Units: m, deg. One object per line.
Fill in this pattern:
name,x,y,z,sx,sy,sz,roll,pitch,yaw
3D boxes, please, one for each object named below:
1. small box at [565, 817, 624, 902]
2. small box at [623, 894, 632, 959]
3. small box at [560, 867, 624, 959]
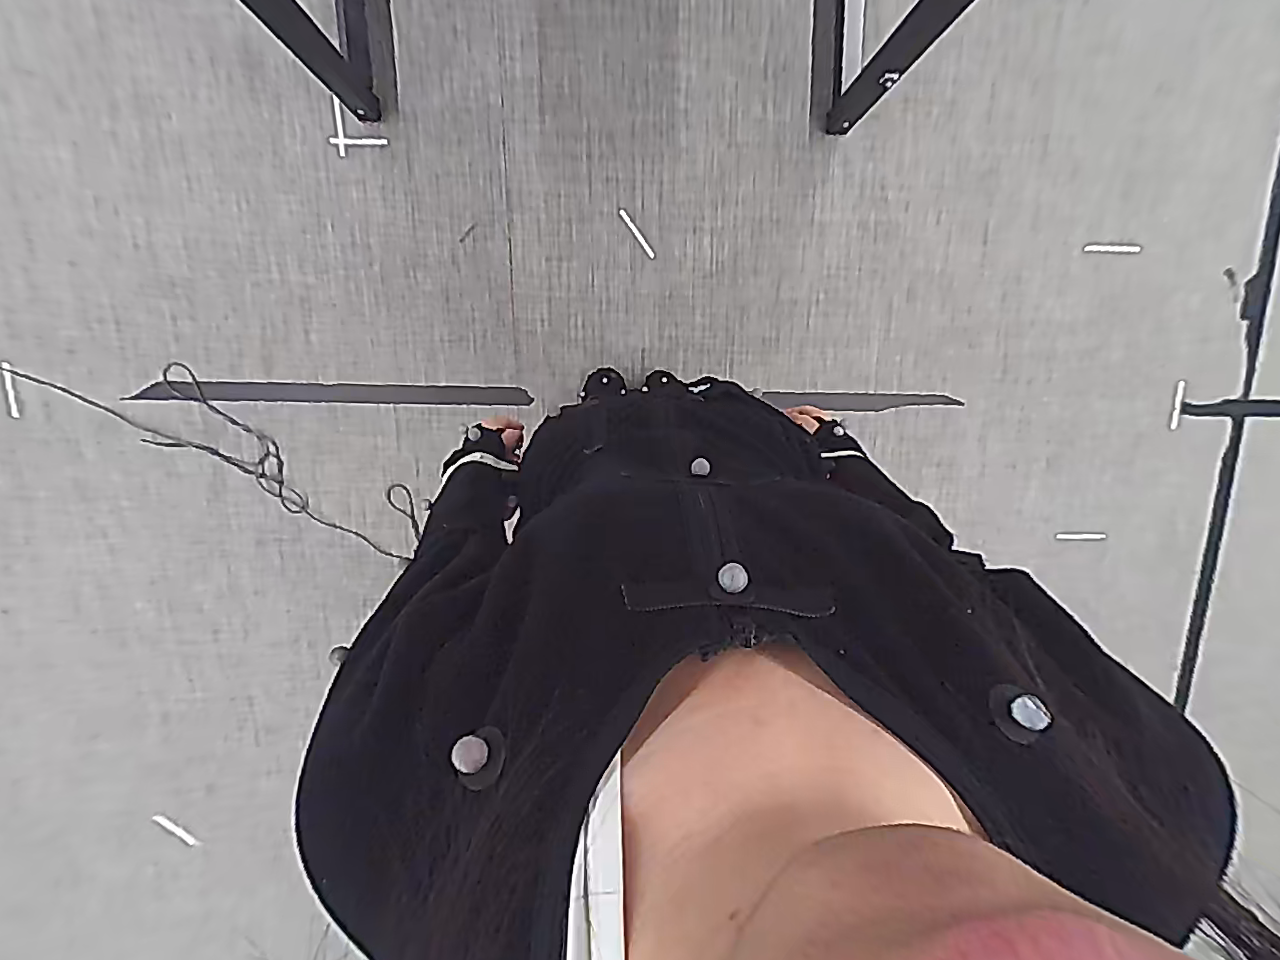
small box,-0.136,1.144,1.624,0.168,0.176,0.179,-2,102,-2
small box,-0.118,1.420,1.680,0.168,0.176,0.179,-7,101,-2
small box,-0.130,1.188,1.466,0.168,0.176,0.179,1,102,-3
